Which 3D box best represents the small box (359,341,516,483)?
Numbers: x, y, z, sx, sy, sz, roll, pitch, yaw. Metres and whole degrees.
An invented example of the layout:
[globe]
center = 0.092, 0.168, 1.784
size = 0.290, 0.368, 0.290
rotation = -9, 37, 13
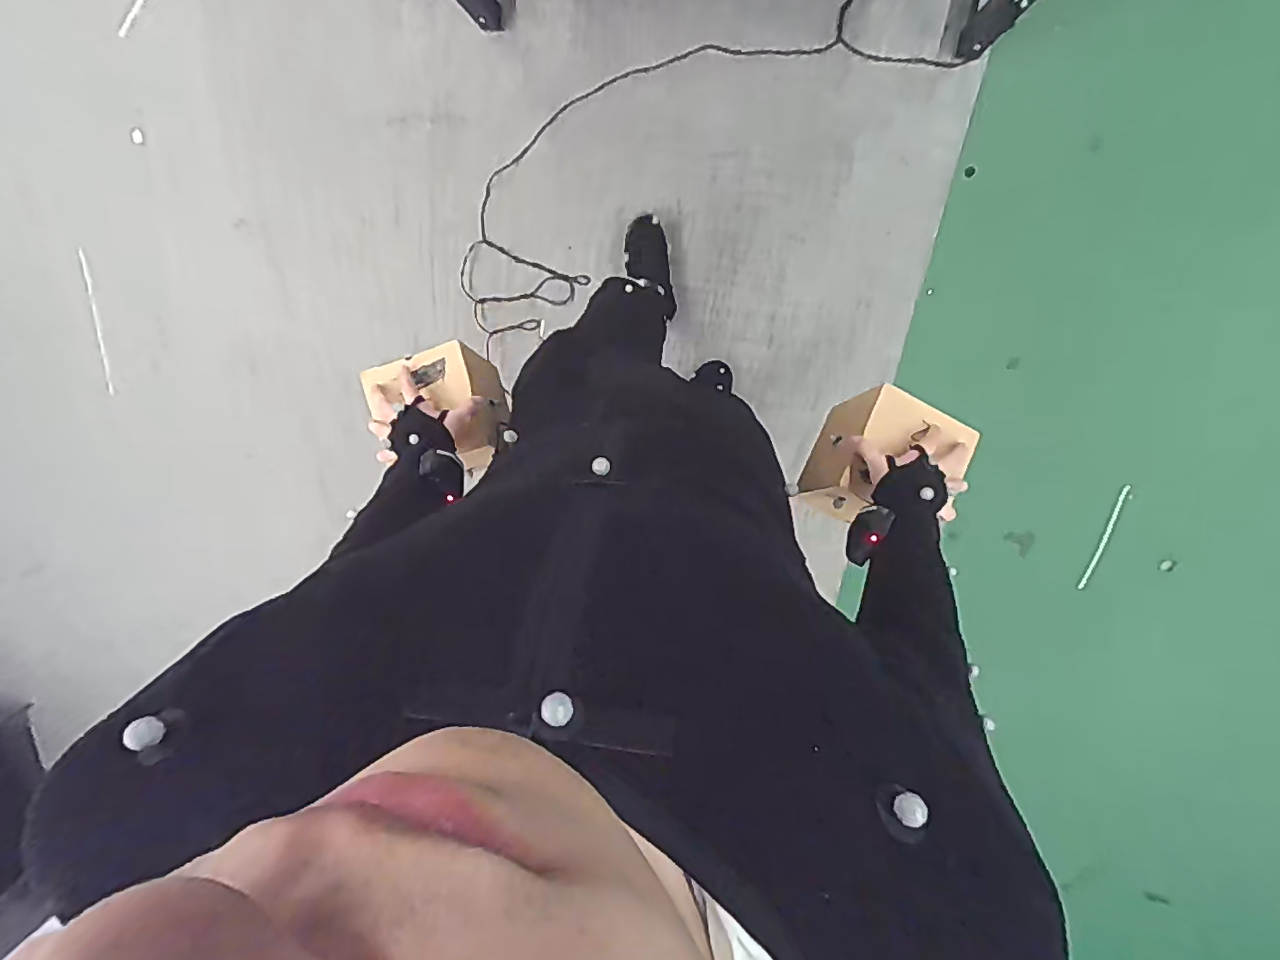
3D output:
[small box]
center = -0.327, -0.103, 0.902
size = 0.168, 0.176, 0.179
rotation = -19, 85, 4
